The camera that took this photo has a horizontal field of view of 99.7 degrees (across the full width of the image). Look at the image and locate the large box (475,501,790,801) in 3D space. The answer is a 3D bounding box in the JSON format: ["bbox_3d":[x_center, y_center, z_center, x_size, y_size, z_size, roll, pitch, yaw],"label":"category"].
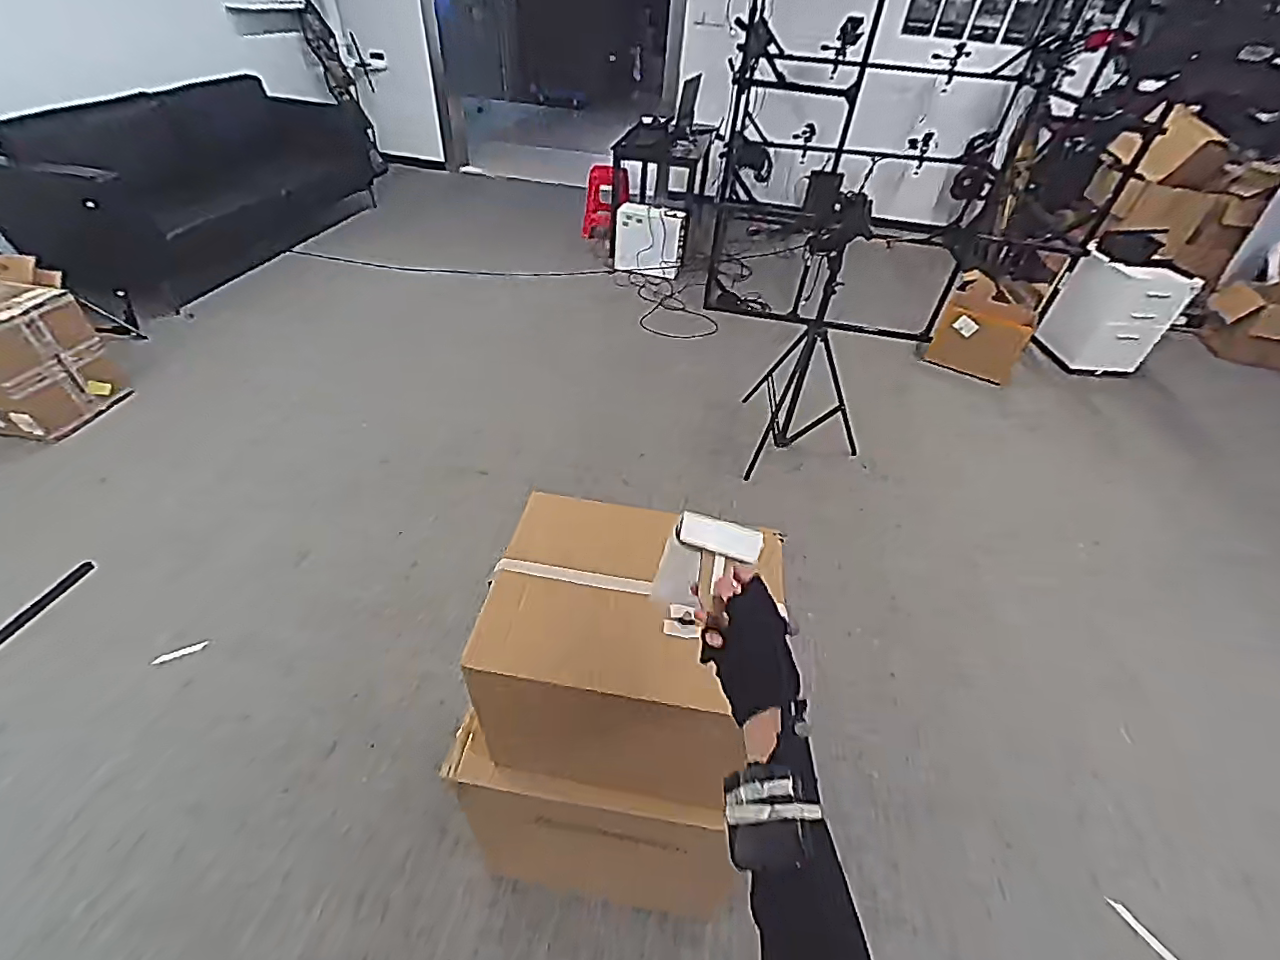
[{"bbox_3d":[-0.007,0.271,0.873,0.408,0.320,0.320,9,43,3],"label":"large box"}]
